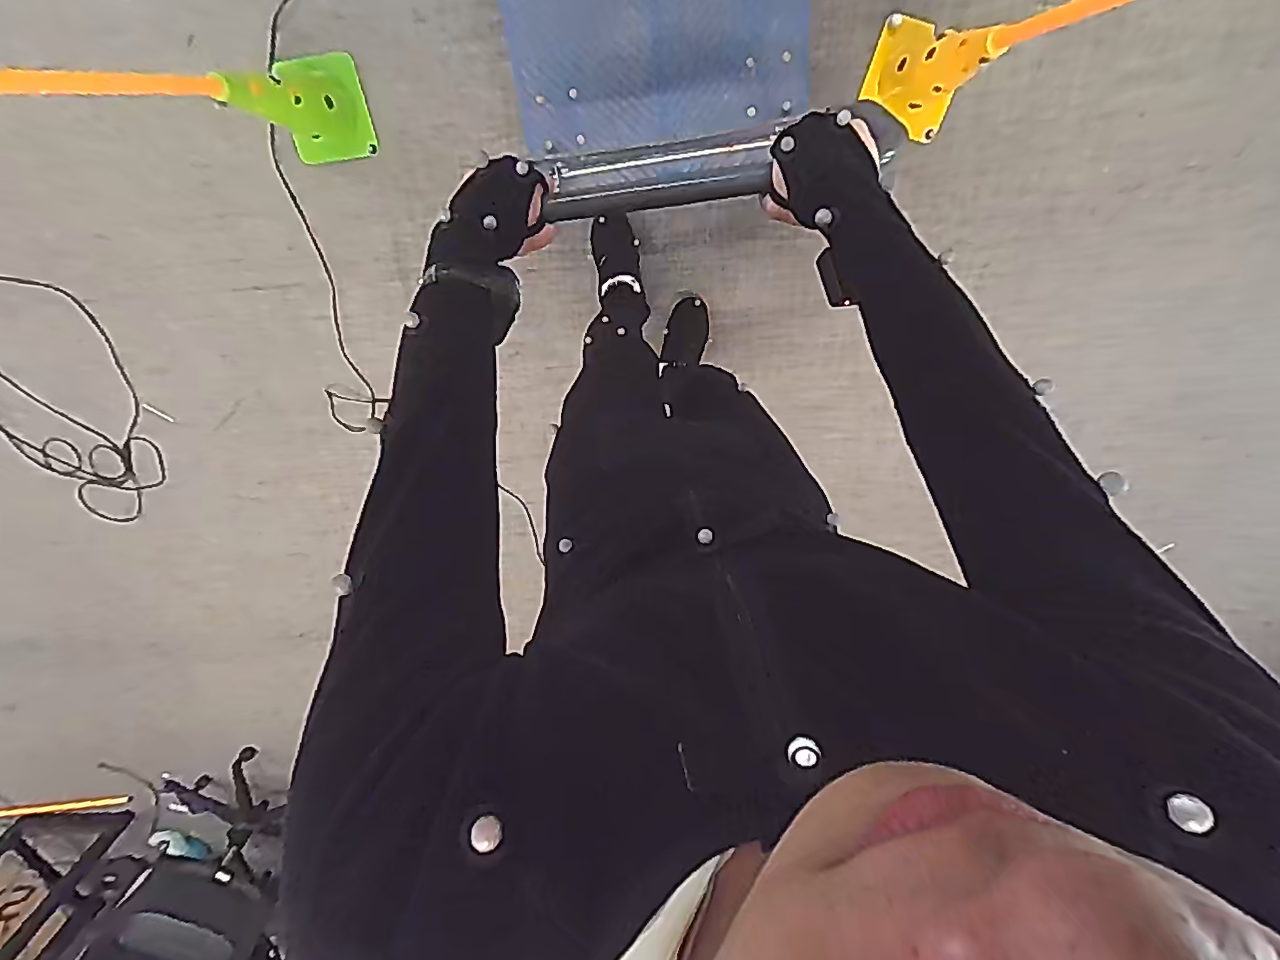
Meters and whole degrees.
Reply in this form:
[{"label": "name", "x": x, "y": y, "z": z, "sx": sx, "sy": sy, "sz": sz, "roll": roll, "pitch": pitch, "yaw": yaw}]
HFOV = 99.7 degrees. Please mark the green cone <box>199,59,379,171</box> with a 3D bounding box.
[{"label": "green cone", "x": -0.739, "y": -0.766, "z": 1.107, "sx": 0.202, "sy": 0.368, "sz": 0.200, "roll": -5, "pitch": 117, "yaw": 7}]
